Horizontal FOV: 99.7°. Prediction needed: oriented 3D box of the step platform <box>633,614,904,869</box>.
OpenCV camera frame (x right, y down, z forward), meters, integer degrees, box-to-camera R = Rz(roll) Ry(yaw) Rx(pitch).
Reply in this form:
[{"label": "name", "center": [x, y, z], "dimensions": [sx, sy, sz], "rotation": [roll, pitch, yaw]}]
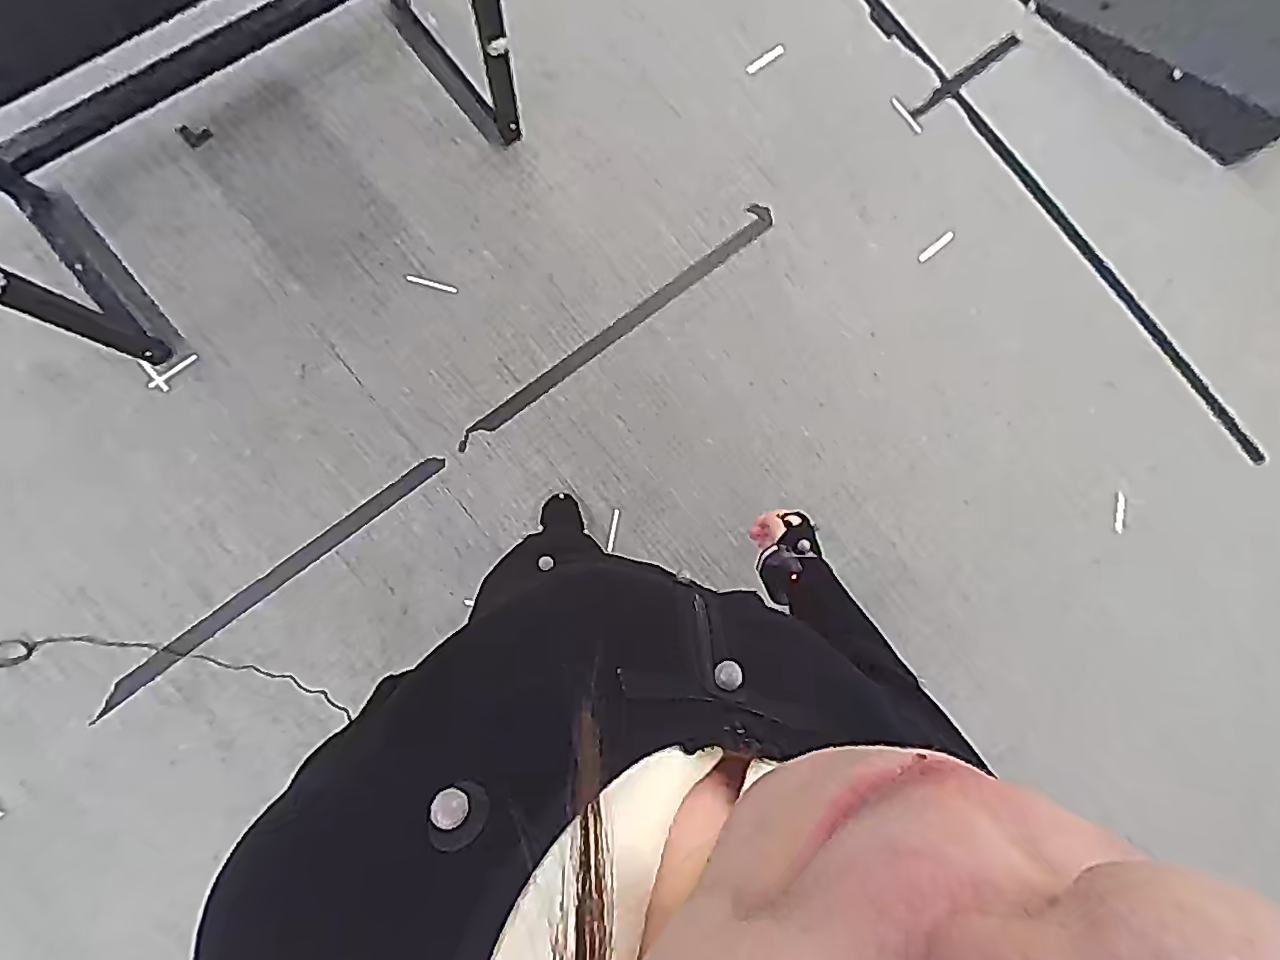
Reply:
[{"label": "step platform", "center": [0.327, 0.646, 1.393], "dimensions": [0.684, 0.204, 0.286], "rotation": [-33, 88, -10]}]
